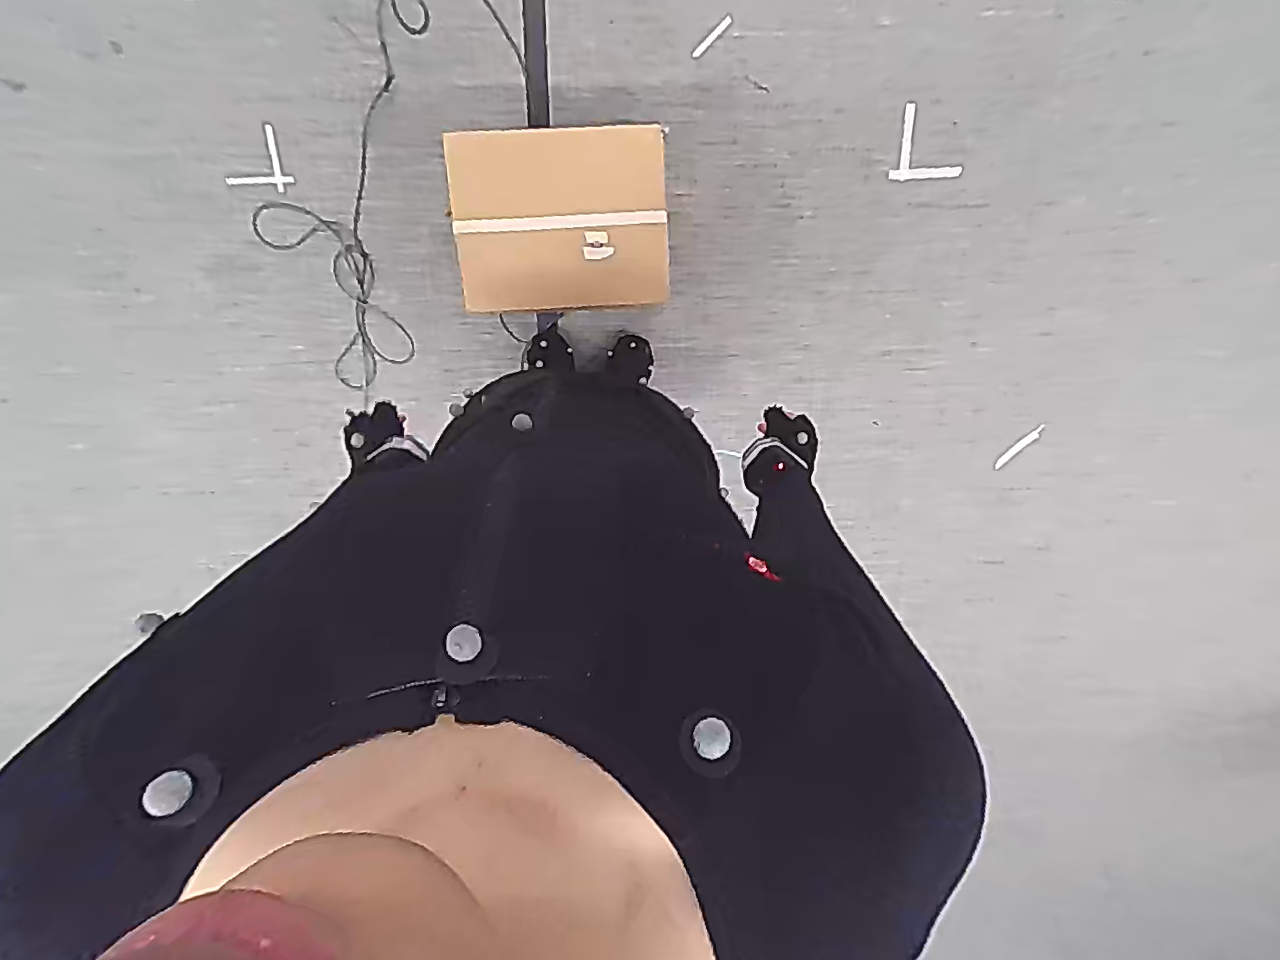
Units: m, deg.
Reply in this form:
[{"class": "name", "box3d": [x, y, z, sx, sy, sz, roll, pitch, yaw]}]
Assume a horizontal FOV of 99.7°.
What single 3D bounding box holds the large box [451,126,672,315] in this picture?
[{"class": "large box", "box3d": [-0.152, -0.538, 1.182, 0.408, 0.320, 0.320, -4, 107, -2]}]
